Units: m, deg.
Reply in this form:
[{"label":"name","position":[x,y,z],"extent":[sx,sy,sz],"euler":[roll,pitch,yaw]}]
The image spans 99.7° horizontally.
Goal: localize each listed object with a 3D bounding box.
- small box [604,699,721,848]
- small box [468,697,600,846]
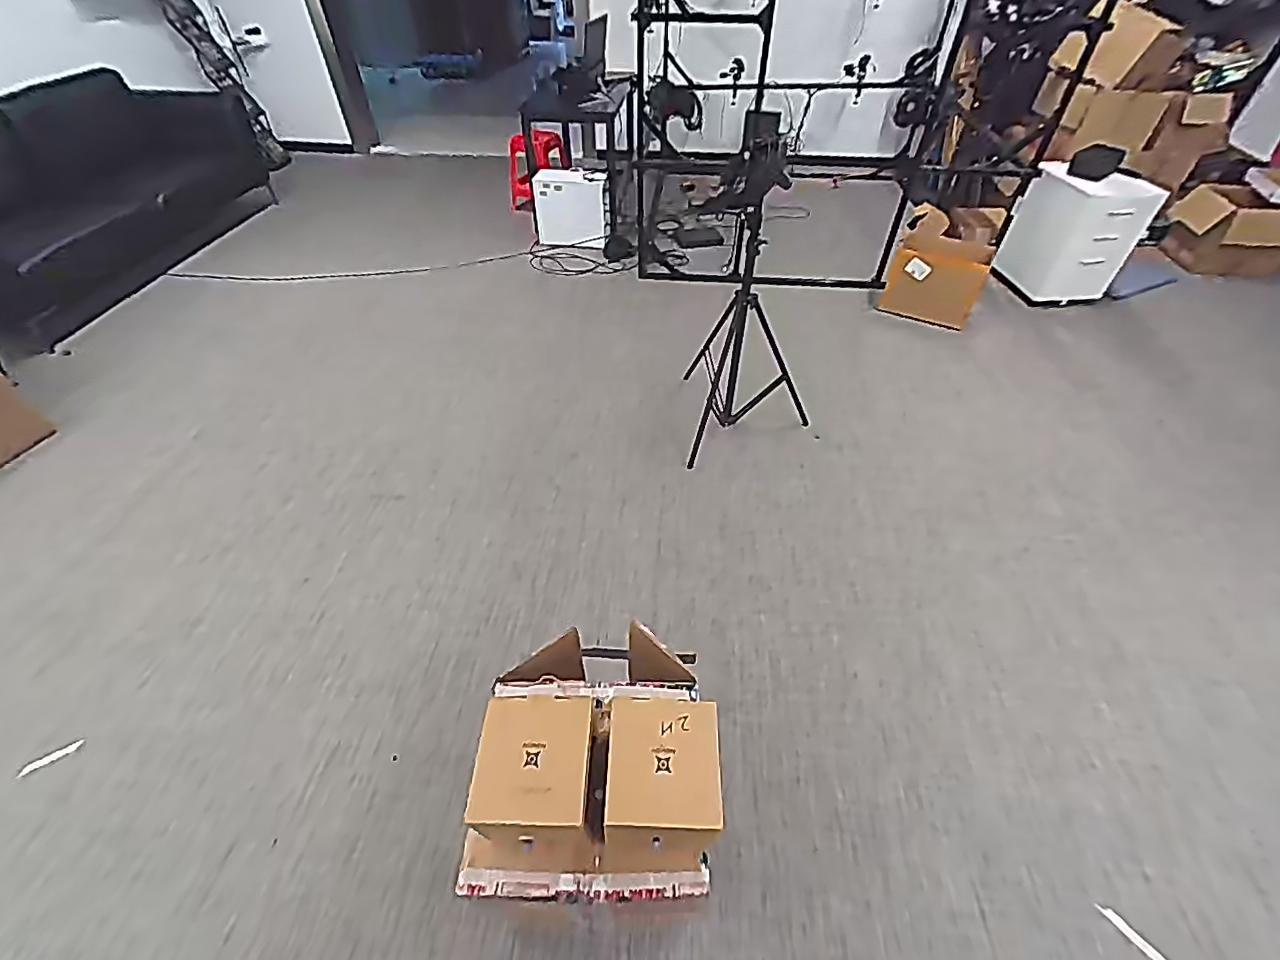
[{"label":"small box","position":[0.034,0.466,0.854],"extent":[0.168,0.176,0.179],"euler":[2,47,0]},{"label":"small box","position":[-0.154,0.462,0.858],"extent":[0.168,0.176,0.179],"euler":[0,49,2]}]
